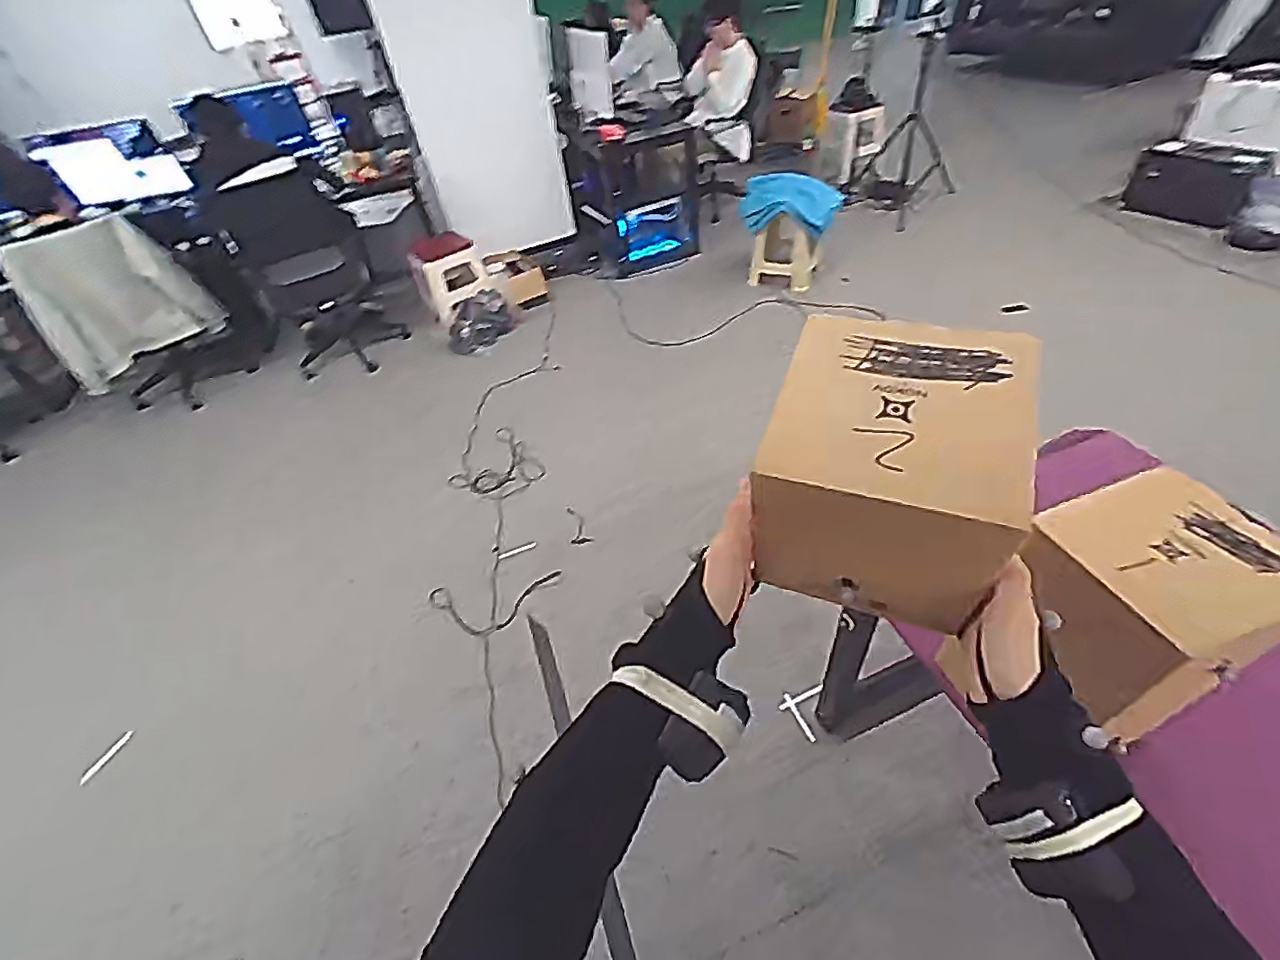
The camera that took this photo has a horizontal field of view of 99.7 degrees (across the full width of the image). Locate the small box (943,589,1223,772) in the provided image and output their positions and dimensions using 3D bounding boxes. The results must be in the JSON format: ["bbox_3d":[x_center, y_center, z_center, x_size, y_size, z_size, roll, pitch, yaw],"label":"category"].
[{"bbox_3d":[0.518,0.235,0.668,0.168,0.176,0.179,-17,45,-7],"label":"small box"}]

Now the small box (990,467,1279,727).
[{"bbox_3d":[0.507,0.120,0.551,0.179,0.176,0.168,-18,46,-7],"label":"small box"}]
